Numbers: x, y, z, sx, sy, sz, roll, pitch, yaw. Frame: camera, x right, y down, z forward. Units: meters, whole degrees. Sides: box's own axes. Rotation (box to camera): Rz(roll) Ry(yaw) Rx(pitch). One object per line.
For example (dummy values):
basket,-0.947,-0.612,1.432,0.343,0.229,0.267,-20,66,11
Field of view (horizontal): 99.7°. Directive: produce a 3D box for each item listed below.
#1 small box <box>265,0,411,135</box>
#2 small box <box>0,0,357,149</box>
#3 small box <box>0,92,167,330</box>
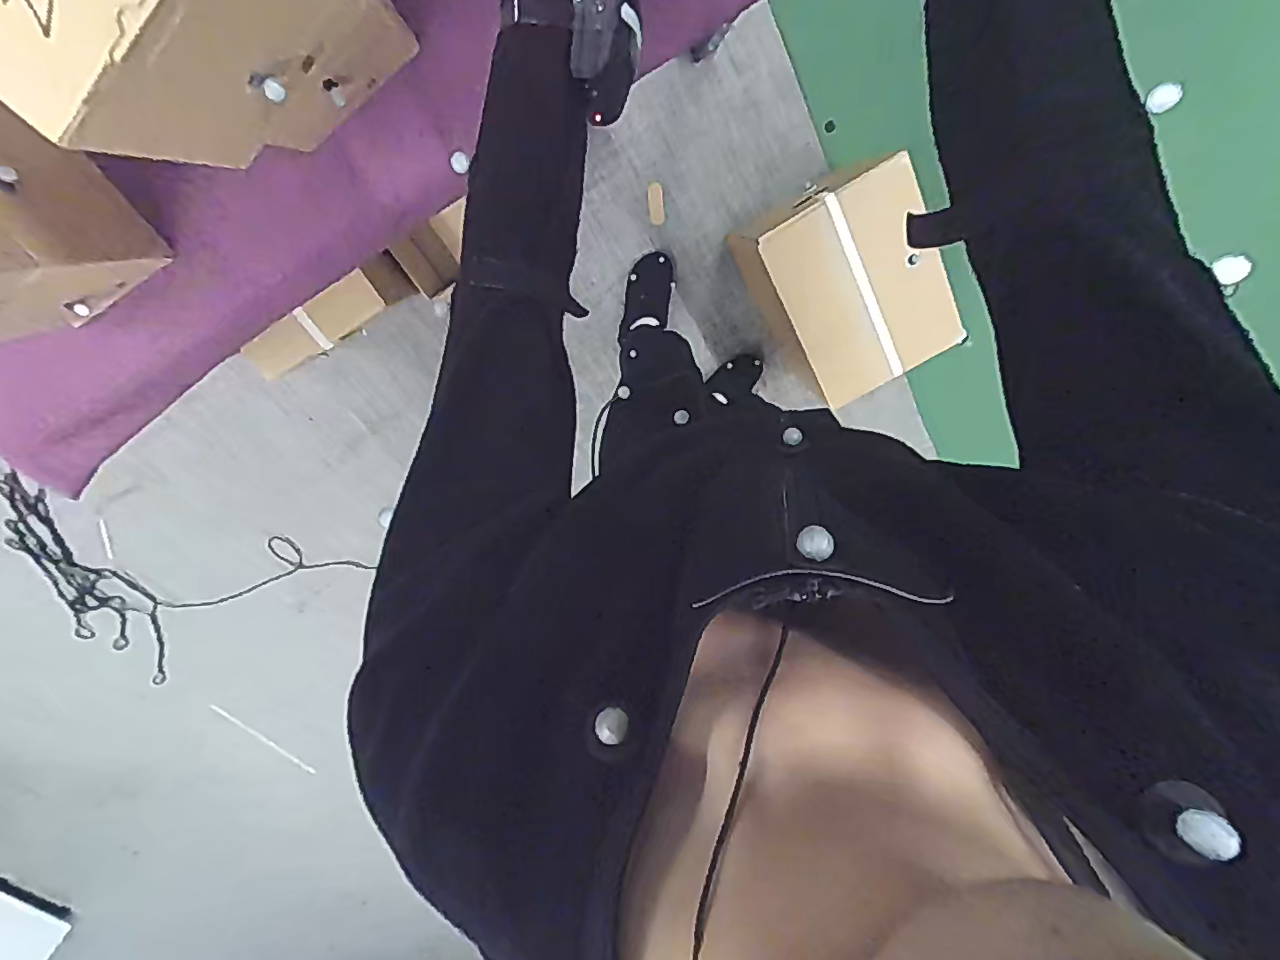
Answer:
small box,-0.329,-0.422,0.452,0.168,0.176,0.179,-32,113,12
small box,-0.314,-0.329,0.314,0.168,0.176,0.179,-38,112,15
small box,-0.635,-0.254,0.518,0.168,0.176,0.179,-28,115,10
